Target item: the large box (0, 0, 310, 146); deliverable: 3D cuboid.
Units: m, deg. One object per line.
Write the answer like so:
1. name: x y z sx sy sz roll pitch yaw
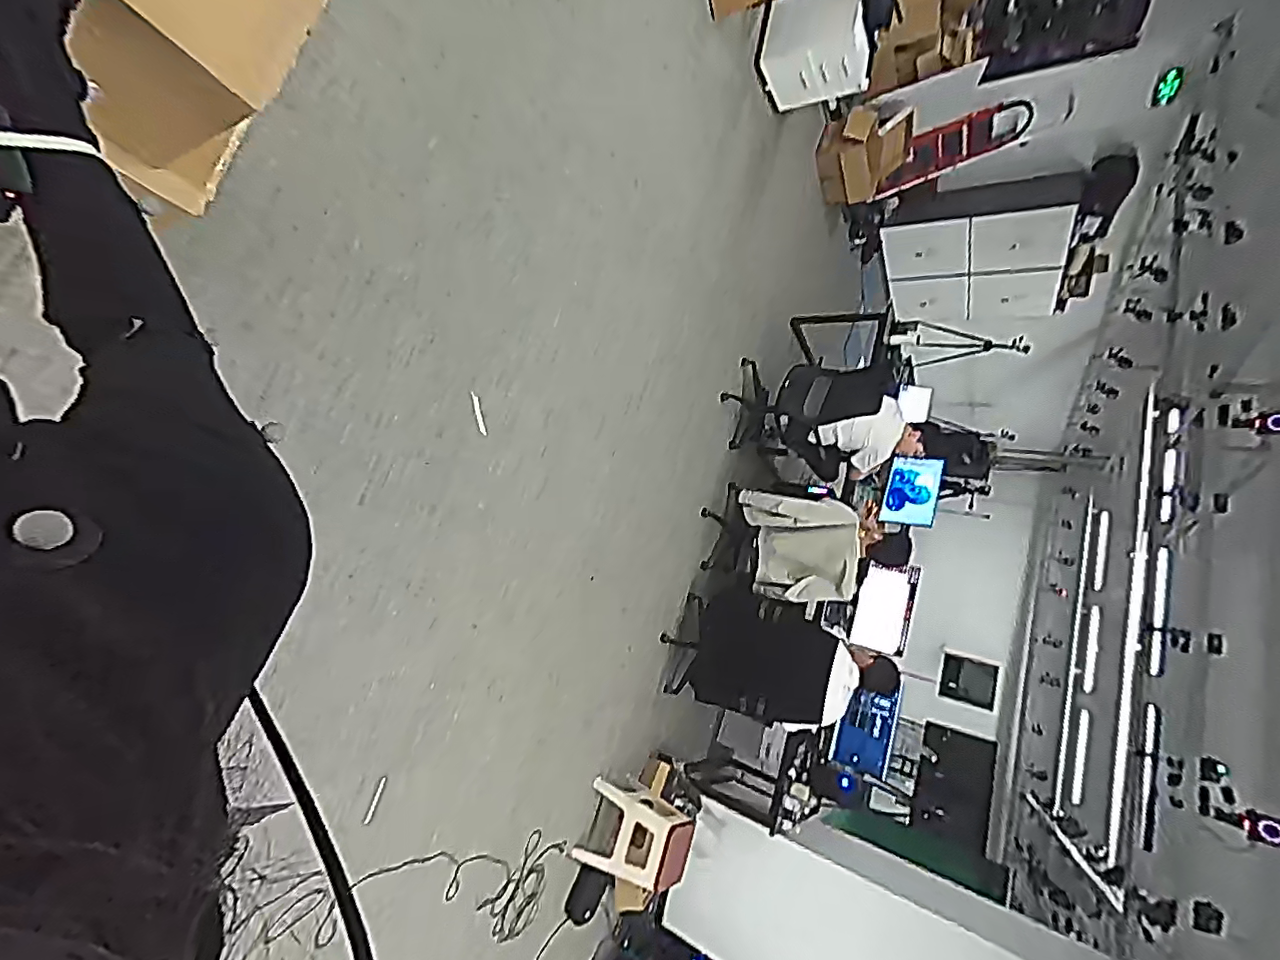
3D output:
1. large box: -0.558 -0.607 0.485 0.408 0.320 0.320 35 70 -55
